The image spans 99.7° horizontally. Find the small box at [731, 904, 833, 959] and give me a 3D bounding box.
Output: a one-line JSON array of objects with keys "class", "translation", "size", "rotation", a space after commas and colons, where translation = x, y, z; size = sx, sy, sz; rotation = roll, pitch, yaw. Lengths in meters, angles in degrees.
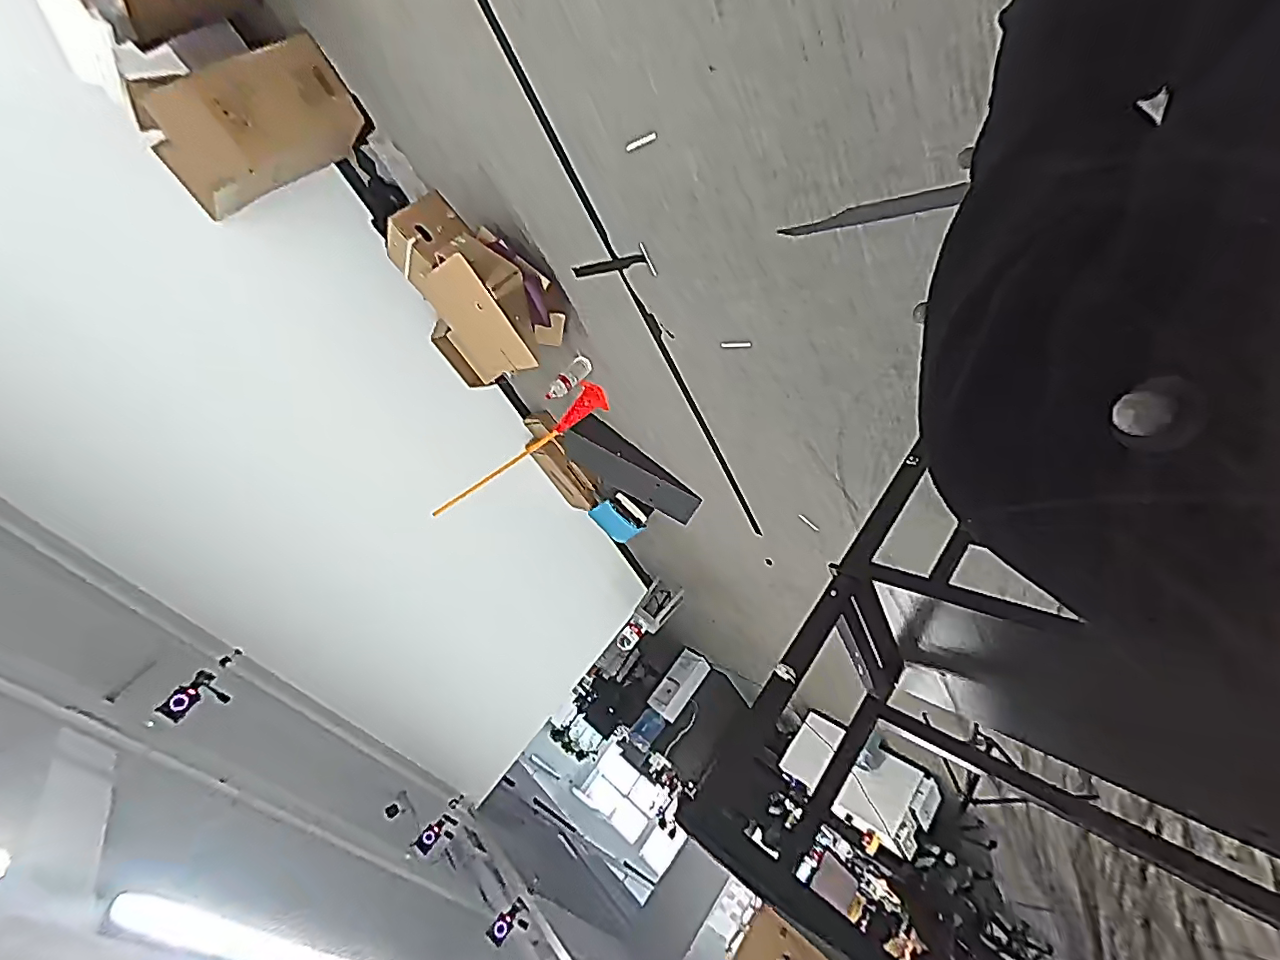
[{"class": "small box", "translation": [0.279, 0.947, 1.009], "size": [0.168, 0.176, 0.179], "rotation": [14, 145, 47]}]
